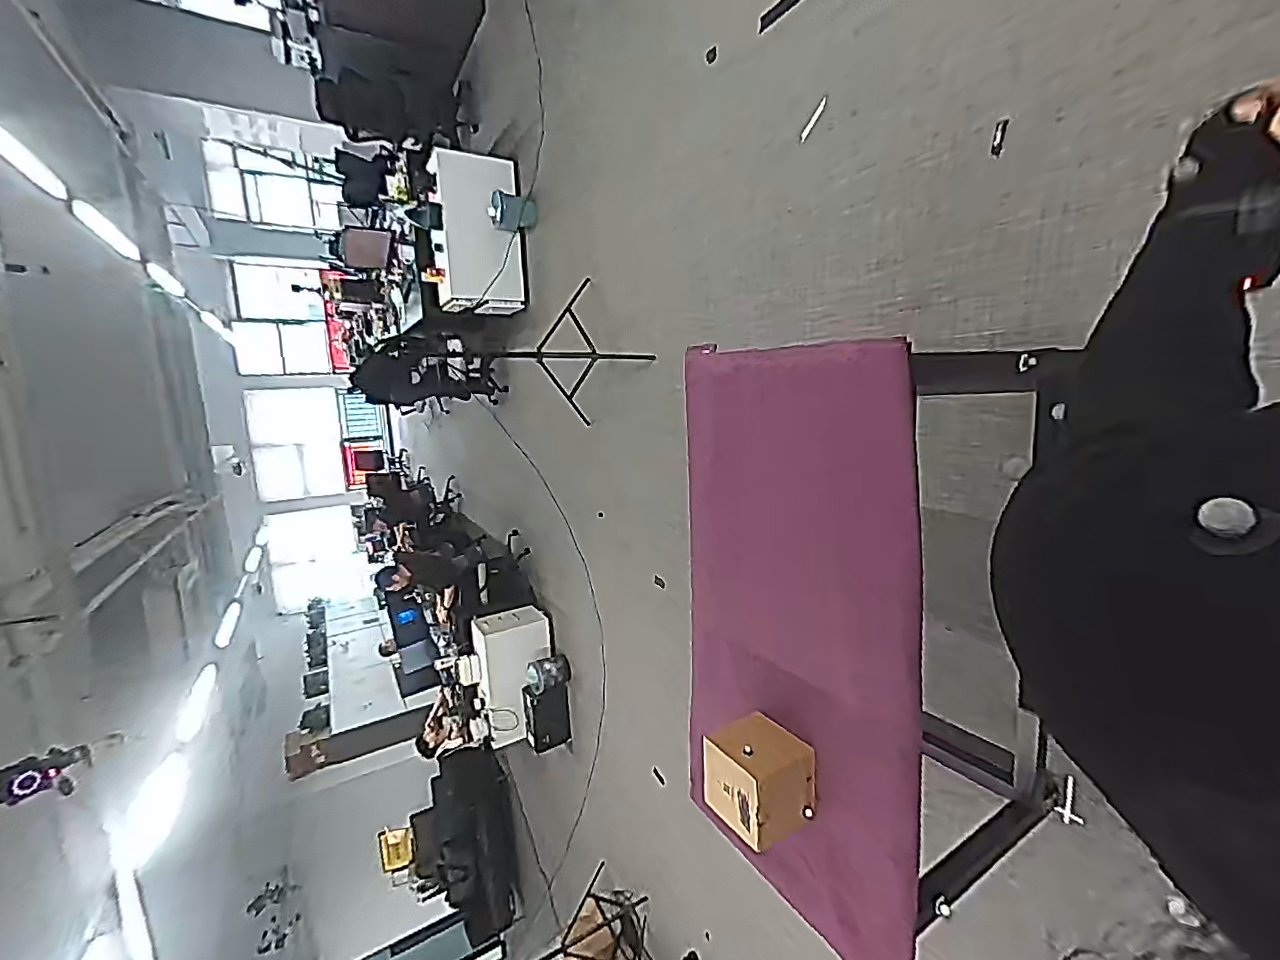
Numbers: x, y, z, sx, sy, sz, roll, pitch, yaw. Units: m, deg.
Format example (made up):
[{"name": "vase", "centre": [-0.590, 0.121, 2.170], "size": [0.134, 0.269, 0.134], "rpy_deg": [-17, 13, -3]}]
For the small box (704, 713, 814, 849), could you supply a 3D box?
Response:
[{"name": "small box", "centre": [0.261, 0.642, 1.183], "size": [0.179, 0.176, 0.168], "rpy_deg": [13, 108, 58]}]
